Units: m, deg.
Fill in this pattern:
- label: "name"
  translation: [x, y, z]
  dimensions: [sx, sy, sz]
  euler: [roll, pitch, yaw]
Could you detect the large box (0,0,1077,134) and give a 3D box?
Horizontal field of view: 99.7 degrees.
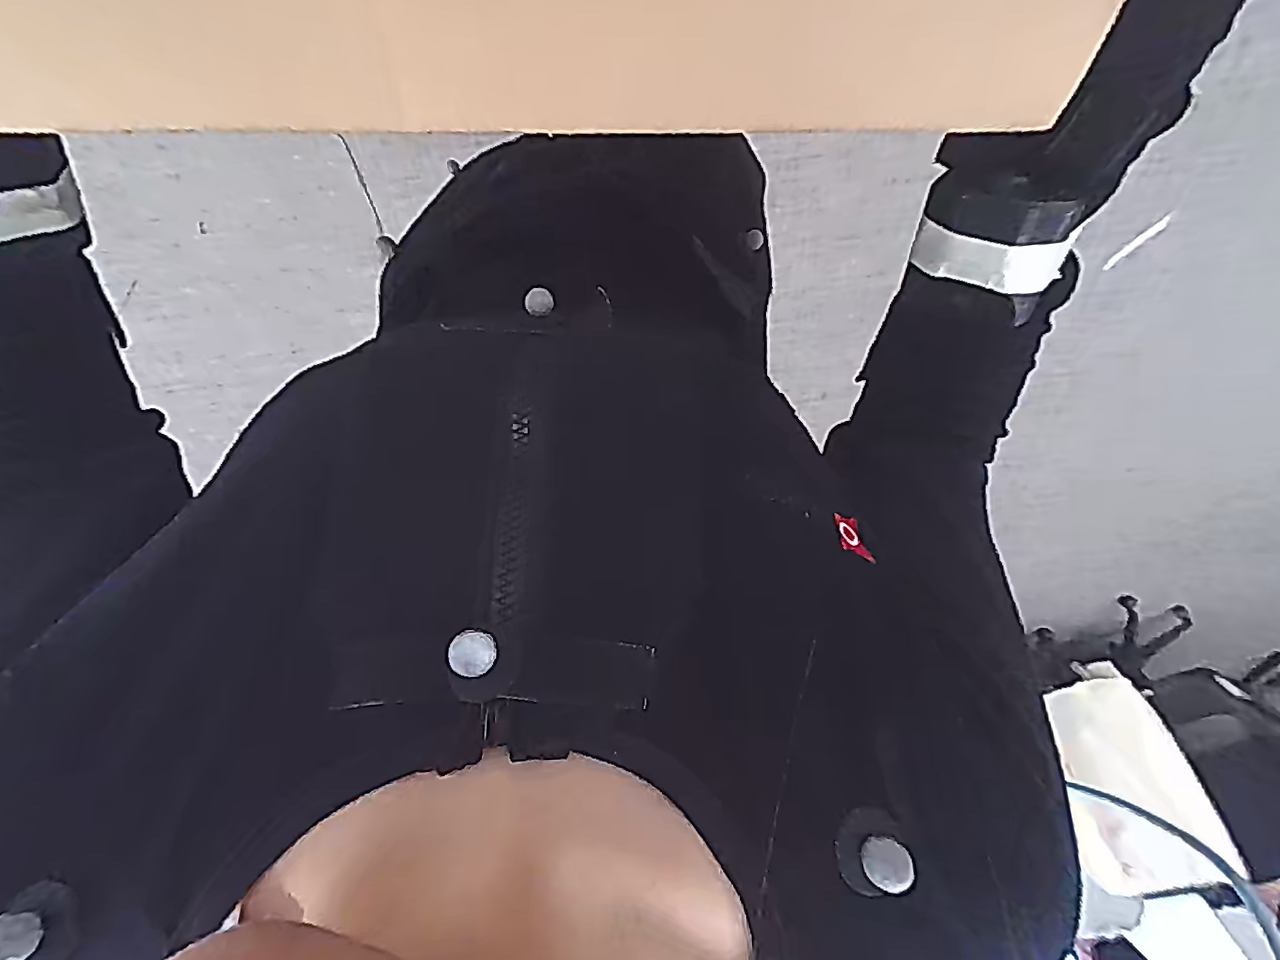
- label: "large box"
  translation: [-0.054, -0.343, 0.172]
  dimensions: [0.408, 0.320, 0.320]
  euler: [-3, 141, -5]
